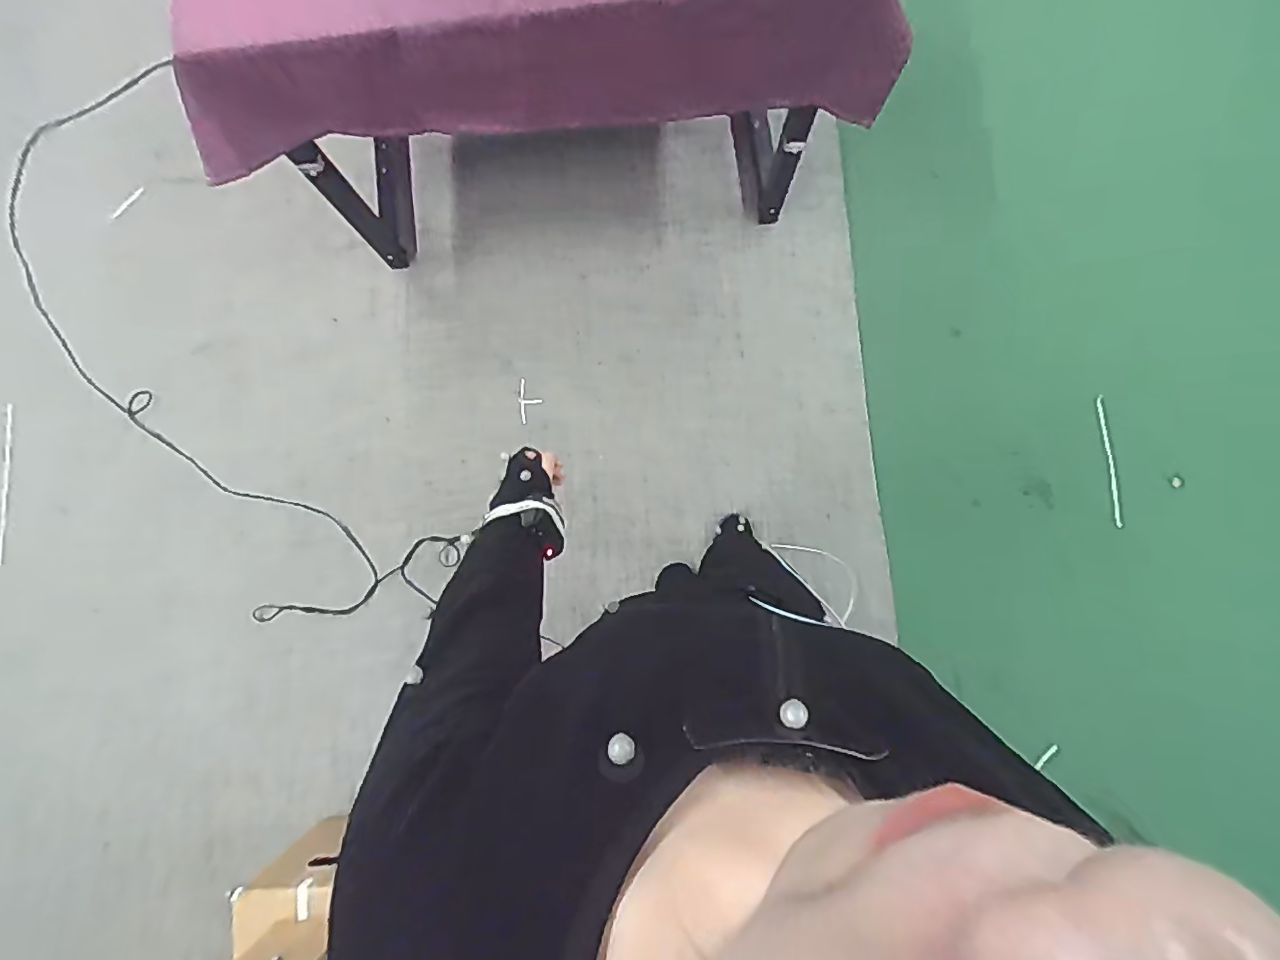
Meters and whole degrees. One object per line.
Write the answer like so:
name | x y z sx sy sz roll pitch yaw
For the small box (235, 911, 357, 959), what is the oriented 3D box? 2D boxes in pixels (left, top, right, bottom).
small box | -0.671 0.973 1.034 0.179 0.176 0.168 -6 83 -1
